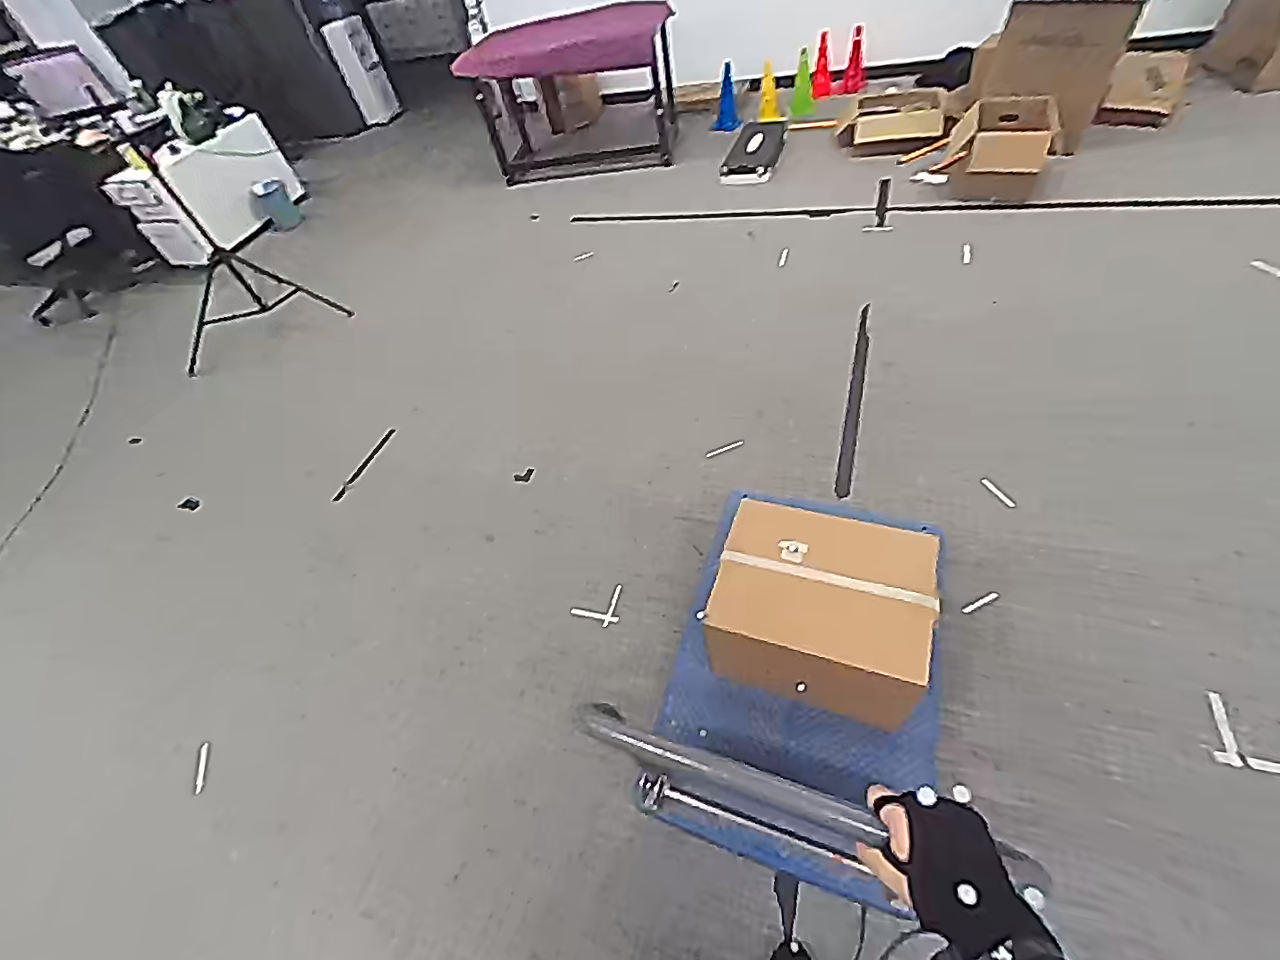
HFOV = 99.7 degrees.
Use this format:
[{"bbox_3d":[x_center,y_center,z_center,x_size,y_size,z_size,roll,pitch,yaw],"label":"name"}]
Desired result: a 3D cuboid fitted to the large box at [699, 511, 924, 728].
[{"bbox_3d":[0.381,0.307,1.206,0.408,0.320,0.320,10,53,21],"label":"large box"}]
